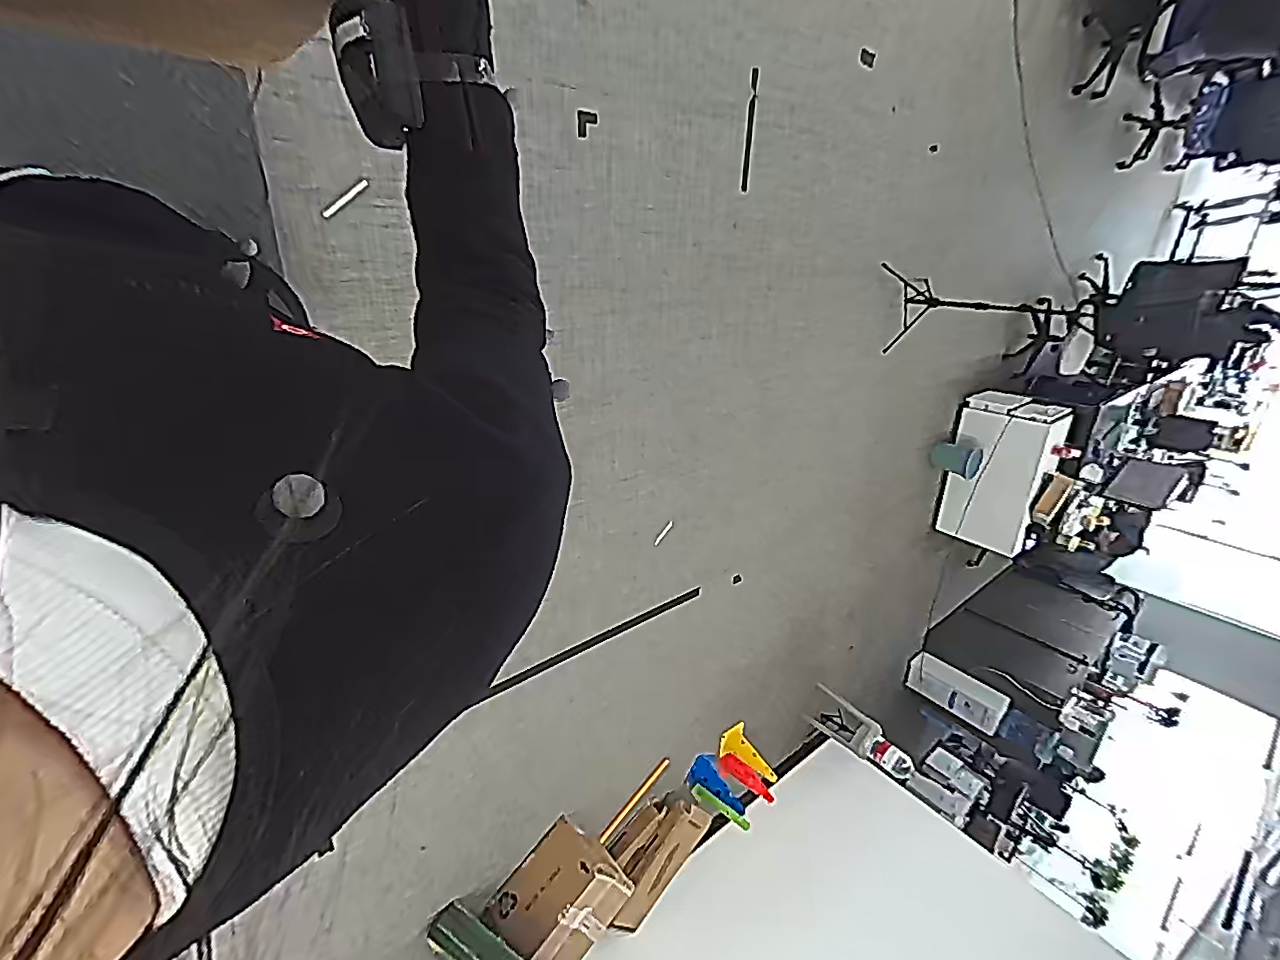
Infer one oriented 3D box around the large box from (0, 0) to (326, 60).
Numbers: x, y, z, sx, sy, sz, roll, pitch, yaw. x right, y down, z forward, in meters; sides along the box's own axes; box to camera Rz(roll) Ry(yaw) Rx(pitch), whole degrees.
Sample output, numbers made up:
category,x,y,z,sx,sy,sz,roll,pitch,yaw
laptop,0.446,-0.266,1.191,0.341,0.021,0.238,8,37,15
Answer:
category,x,y,z,sx,sy,sz,roll,pitch,yaw
large box,-0.399,-0.417,0.221,0.408,0.320,0.320,-18,125,-36
